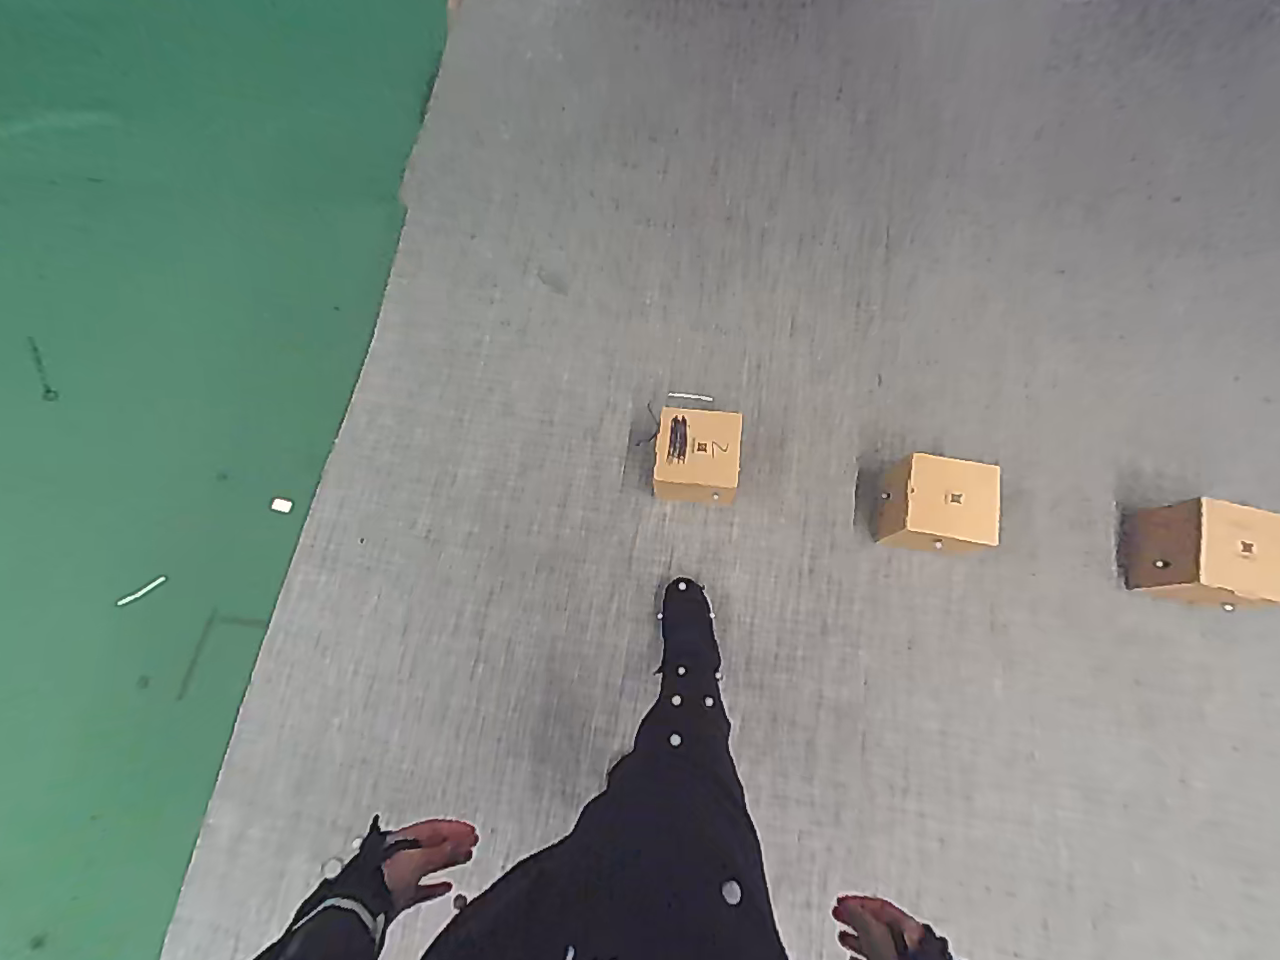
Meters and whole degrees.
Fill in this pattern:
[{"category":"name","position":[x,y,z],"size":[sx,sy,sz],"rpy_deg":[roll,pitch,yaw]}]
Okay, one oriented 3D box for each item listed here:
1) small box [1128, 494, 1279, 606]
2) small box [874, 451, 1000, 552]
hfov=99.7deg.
[{"category":"small box","position":[1.132,0.148,1.085],"size":[0.168,0.176,0.179],"rpy_deg":[14,75,6]},{"category":"small box","position":[0.621,0.052,1.144],"size":[0.179,0.176,0.168],"rpy_deg":[10,75,7]}]
